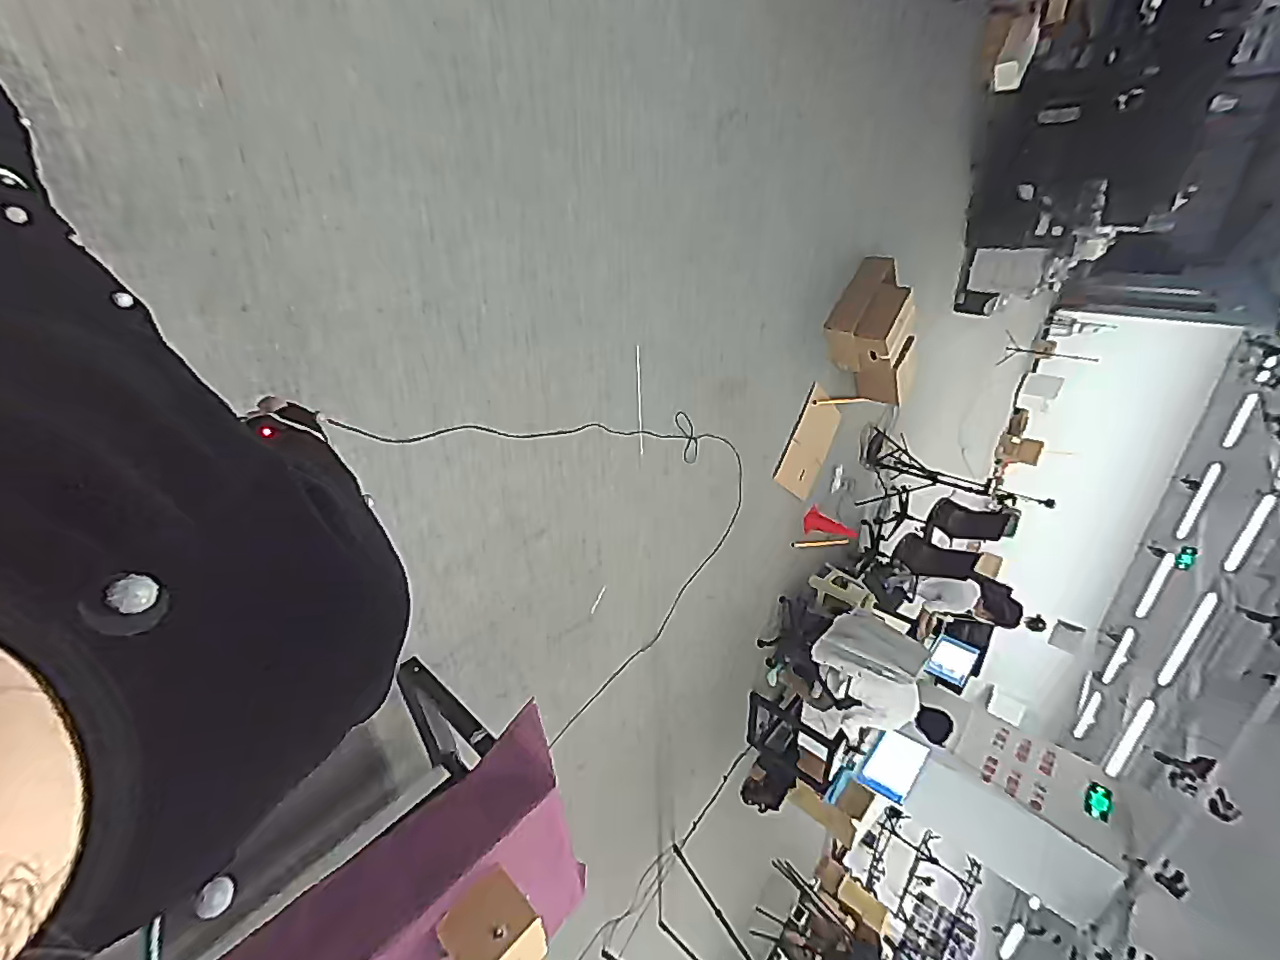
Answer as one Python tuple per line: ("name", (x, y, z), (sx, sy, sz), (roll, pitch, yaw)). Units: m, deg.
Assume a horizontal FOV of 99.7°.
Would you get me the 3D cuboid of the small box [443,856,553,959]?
("small box", (-0.327, 1.033, 1.256), (0.179, 0.176, 0.168), (-28, 127, -40))
